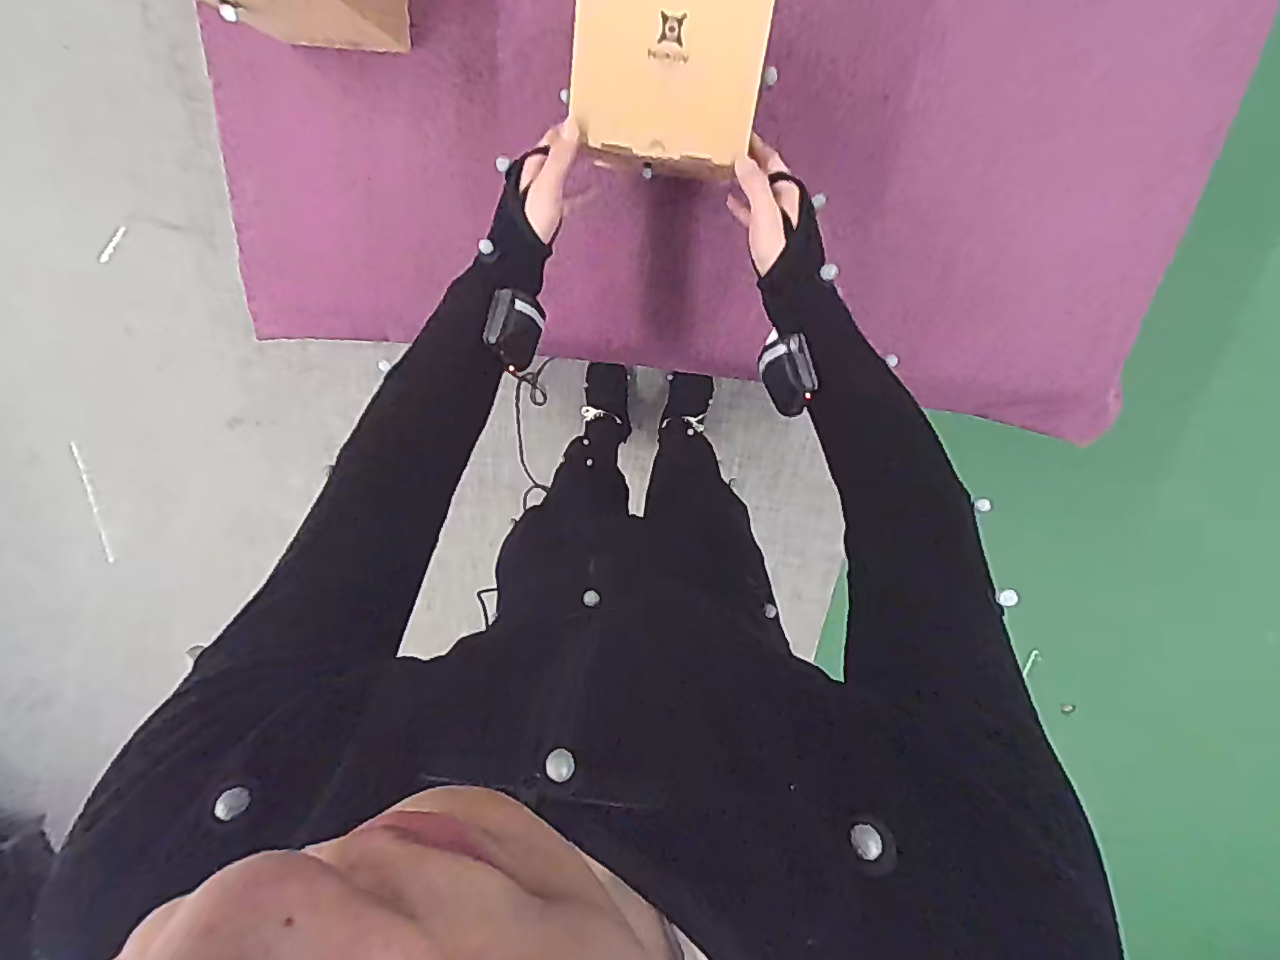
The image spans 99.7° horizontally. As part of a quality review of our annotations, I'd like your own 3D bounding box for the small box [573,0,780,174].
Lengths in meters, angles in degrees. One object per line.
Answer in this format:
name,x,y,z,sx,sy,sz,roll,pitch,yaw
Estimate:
small box,0.034,-0.412,0.525,0.168,0.176,0.179,8,116,0
